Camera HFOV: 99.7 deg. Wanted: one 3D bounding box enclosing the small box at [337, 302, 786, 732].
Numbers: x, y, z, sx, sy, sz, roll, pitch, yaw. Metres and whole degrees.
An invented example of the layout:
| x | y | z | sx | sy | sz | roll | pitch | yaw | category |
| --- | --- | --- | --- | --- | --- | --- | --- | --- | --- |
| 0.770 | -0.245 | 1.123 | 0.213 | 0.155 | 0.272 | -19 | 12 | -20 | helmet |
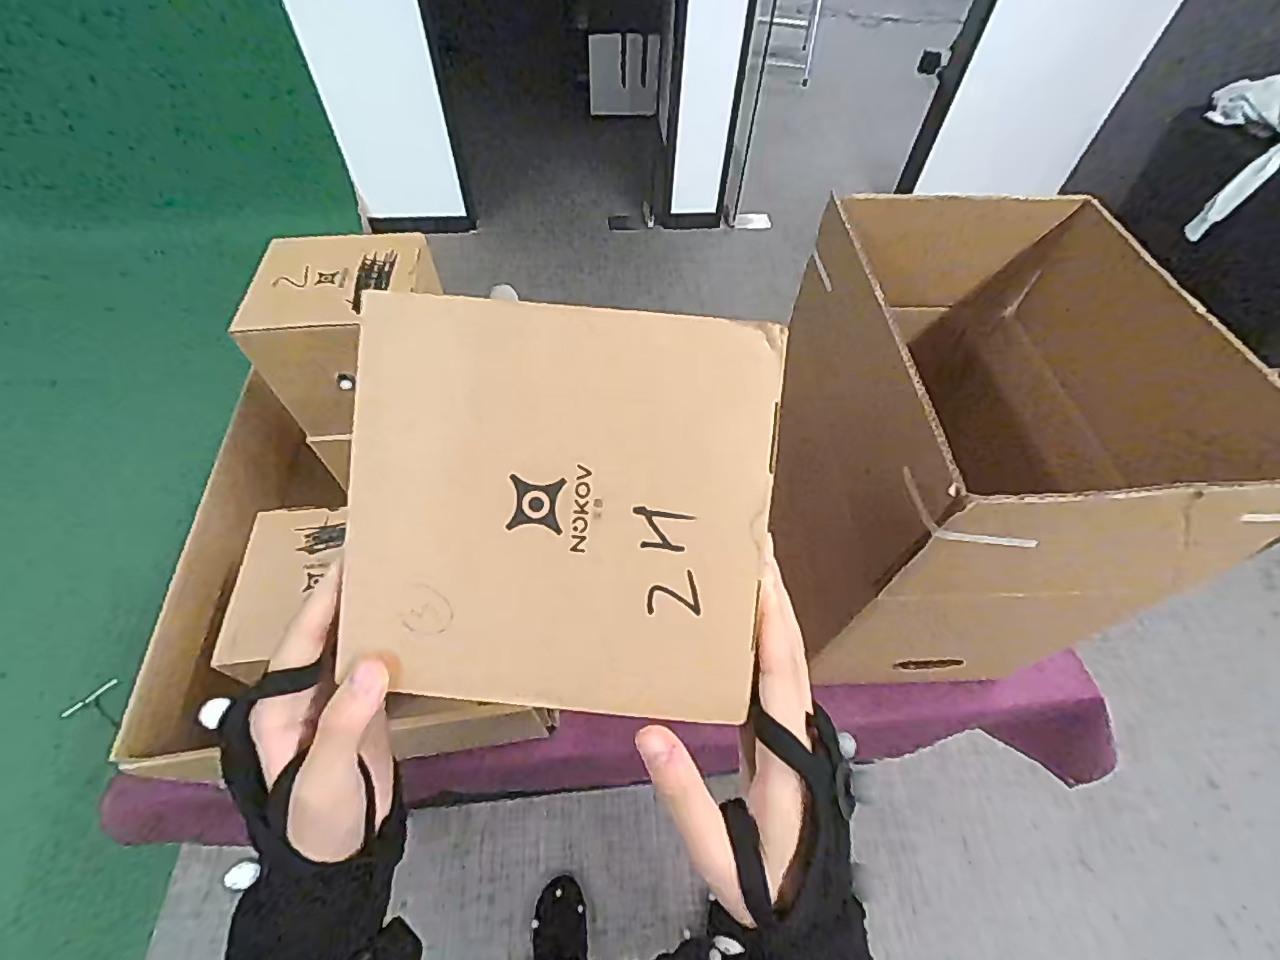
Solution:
| x | y | z | sx | sy | sz | roll | pitch | yaw | category |
| --- | --- | --- | --- | --- | --- | --- | --- | --- | --- |
| -0.033 | 0.012 | 0.305 | 0.179 | 0.176 | 0.168 | 6 | 93 | 1 | small box |

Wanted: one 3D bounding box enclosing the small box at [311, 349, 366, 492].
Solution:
| x | y | z | sx | sy | sz | roll | pitch | yaw | category |
| --- | --- | --- | --- | --- | --- | --- | --- | --- | --- |
| -0.343 | -0.075 | 0.797 | 0.168 | 0.176 | 0.179 | -4 | 55 | -4 | small box |
